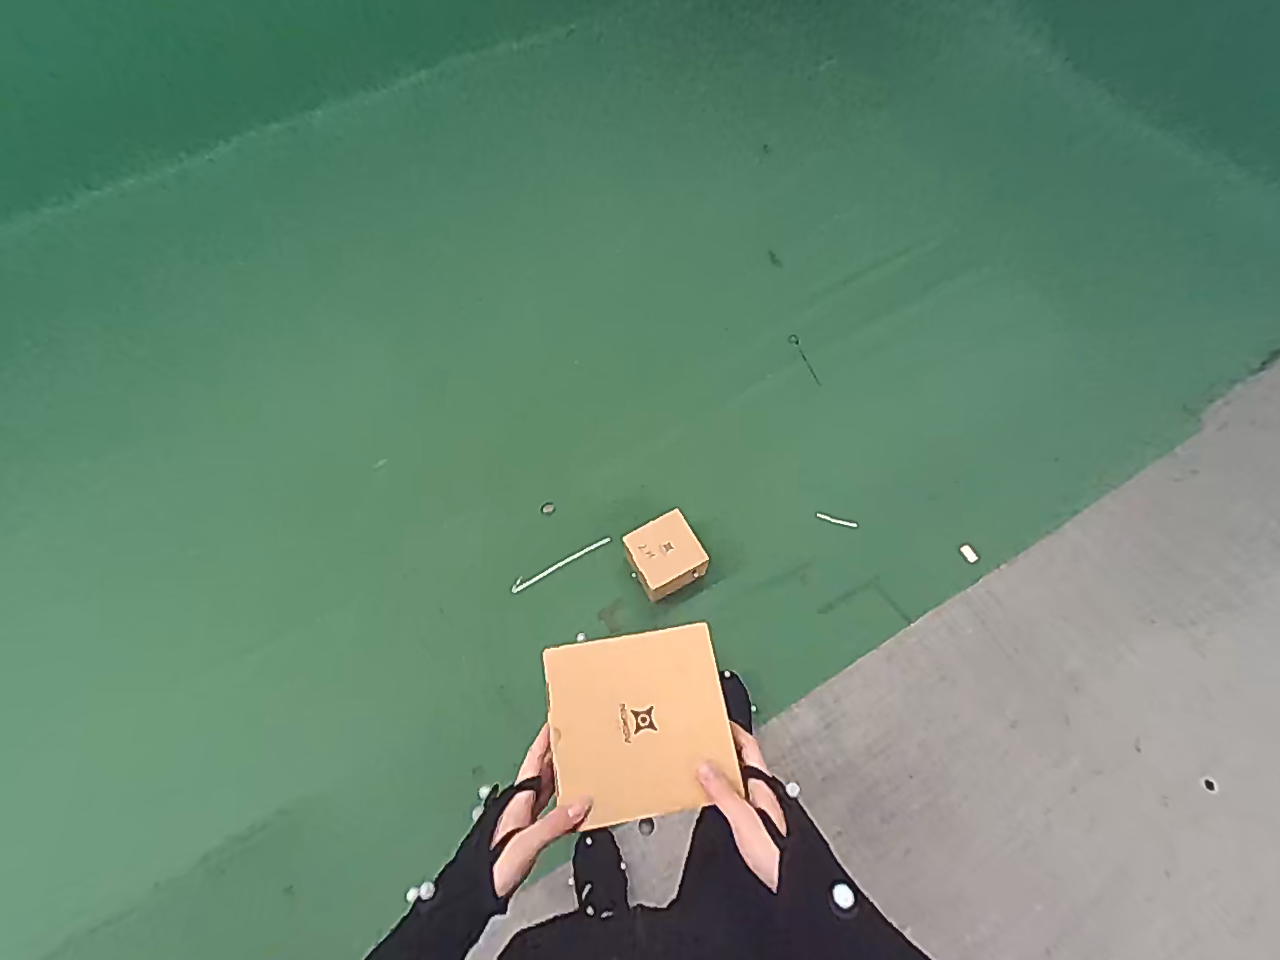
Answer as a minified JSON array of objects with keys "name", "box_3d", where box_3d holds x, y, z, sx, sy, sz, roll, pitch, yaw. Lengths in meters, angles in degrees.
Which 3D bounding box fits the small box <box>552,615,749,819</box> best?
[{"name":"small box","box_3d":[0.006,0.260,0.607,0.179,0.176,0.168,-10,65,-3]}]

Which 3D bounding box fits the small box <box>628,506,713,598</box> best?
[{"name":"small box","box_3d":[0.079,0.203,1.490,0.179,0.176,0.168,-27,68,-10]}]
